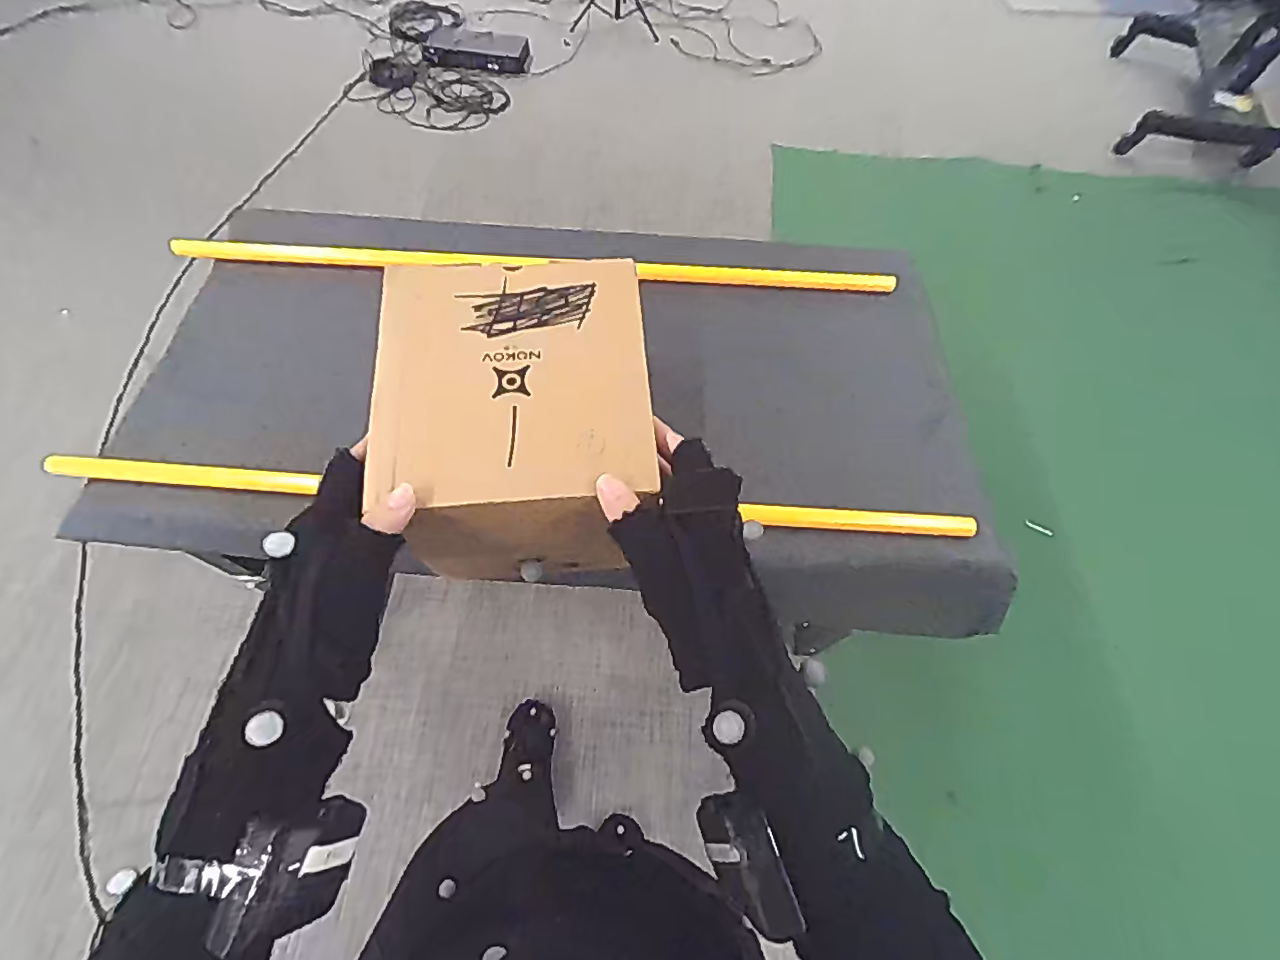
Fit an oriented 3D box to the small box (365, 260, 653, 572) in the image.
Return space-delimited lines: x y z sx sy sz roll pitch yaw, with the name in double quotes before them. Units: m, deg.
"small box" -0.084 -0.039 0.414 0.168 0.176 0.179 -4 67 -4
